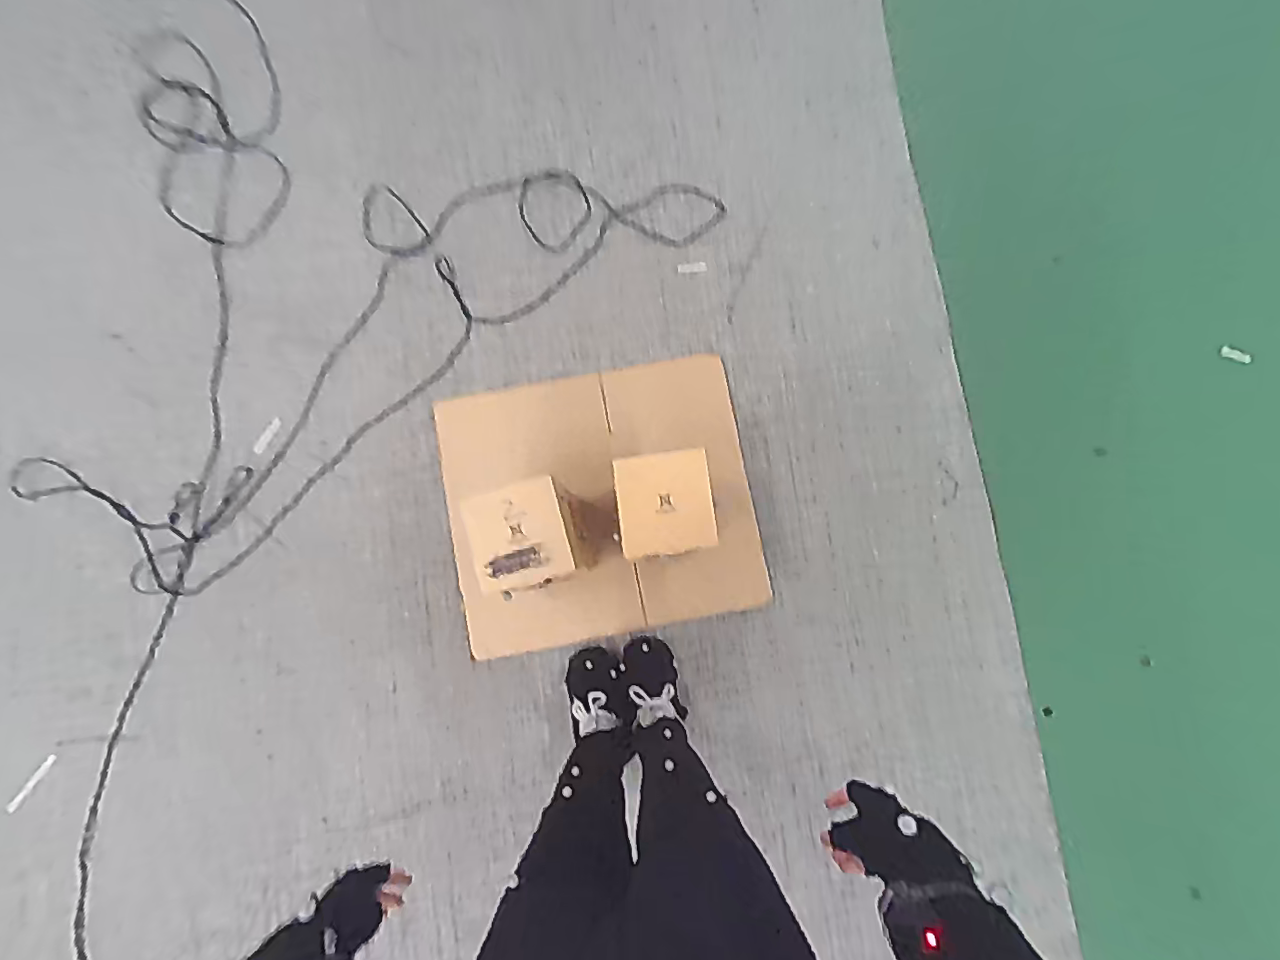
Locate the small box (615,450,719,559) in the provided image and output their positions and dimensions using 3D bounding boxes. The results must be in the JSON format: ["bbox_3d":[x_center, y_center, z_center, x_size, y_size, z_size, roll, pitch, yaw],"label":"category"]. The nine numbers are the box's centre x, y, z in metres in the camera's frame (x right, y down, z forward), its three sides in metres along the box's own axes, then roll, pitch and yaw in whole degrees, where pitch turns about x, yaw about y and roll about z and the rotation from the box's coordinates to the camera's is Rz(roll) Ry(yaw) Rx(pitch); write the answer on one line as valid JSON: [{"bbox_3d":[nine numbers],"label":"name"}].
[{"bbox_3d":[0.045,0.051,1.015,0.168,0.176,0.179,-8,84,-1],"label":"small box"}]

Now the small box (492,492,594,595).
[{"bbox_3d":[-0.200,0.135,1.164,0.168,0.176,0.179,-15,83,-2],"label":"small box"}]
